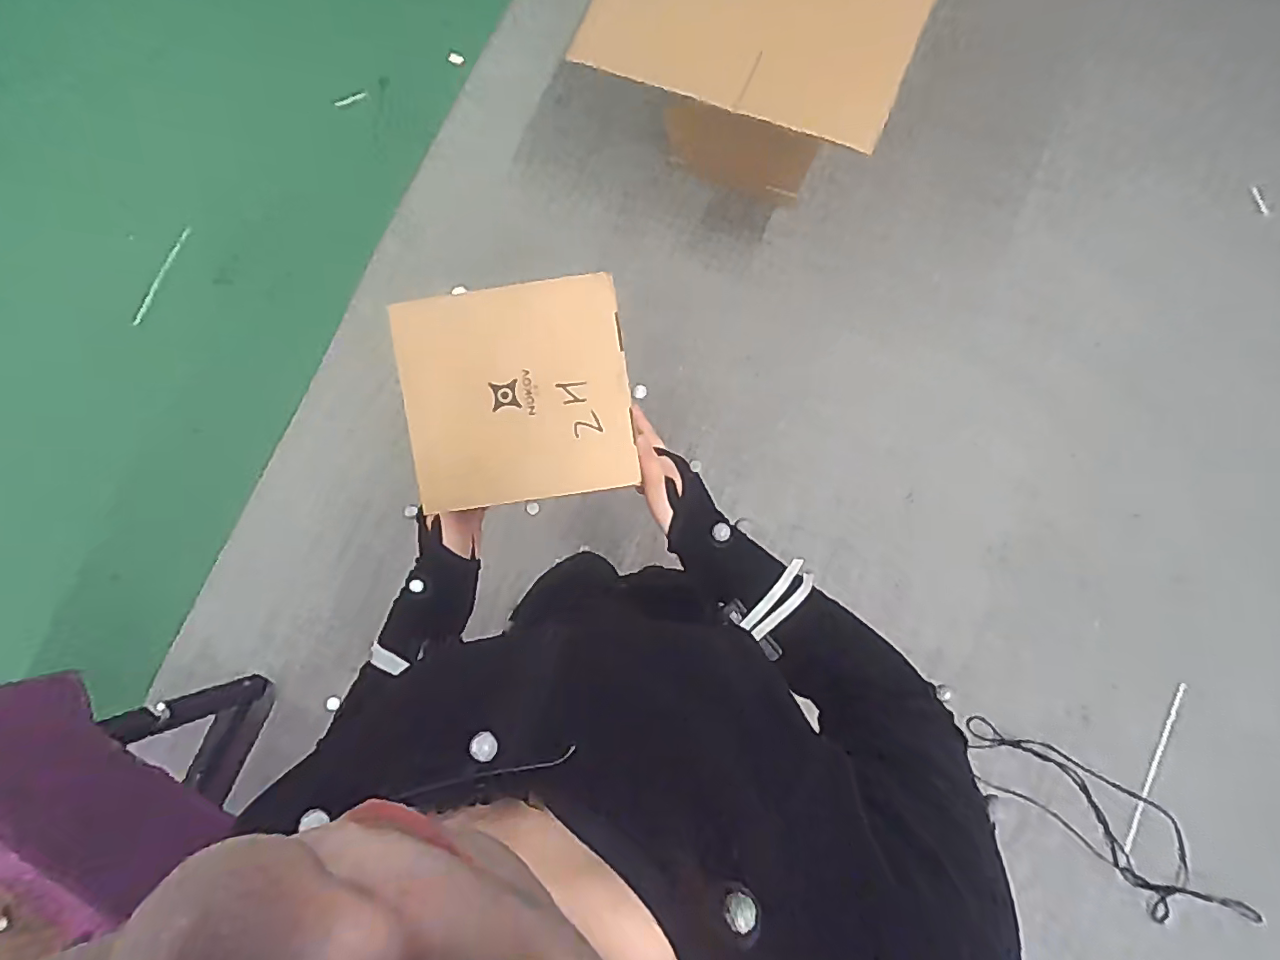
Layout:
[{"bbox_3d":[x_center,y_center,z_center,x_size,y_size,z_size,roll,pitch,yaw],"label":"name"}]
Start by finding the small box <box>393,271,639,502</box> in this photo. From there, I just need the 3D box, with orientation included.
[{"bbox_3d":[-0.095,-0.076,0.498,0.179,0.176,0.168,-7,95,0],"label":"small box"}]
